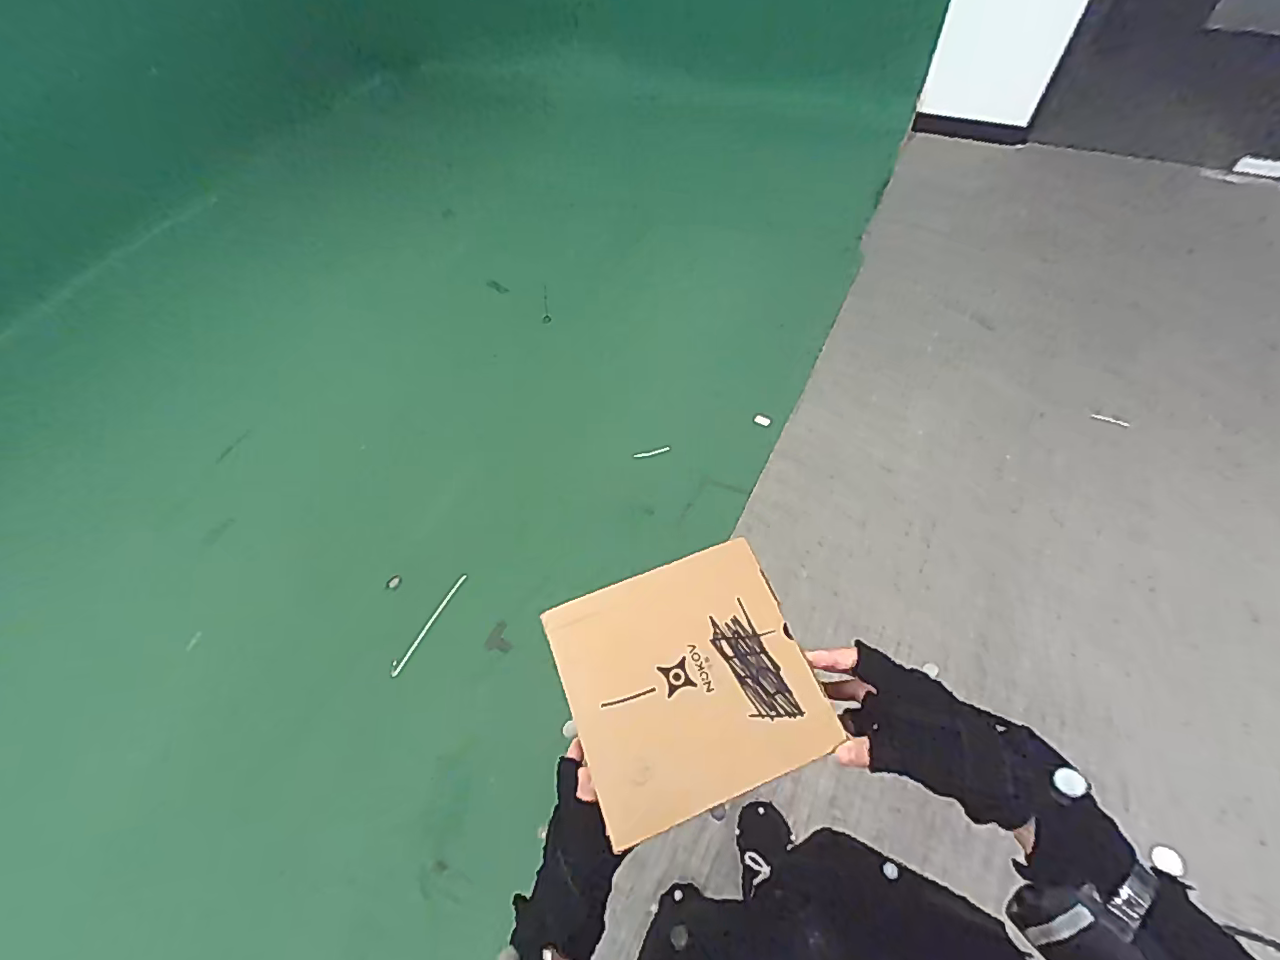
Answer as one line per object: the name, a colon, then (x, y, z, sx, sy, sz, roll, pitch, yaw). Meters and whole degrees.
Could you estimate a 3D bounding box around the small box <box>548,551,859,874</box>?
small box: (0.037, 0.184, 0.448, 0.179, 0.176, 0.168, -19, 64, -10)
